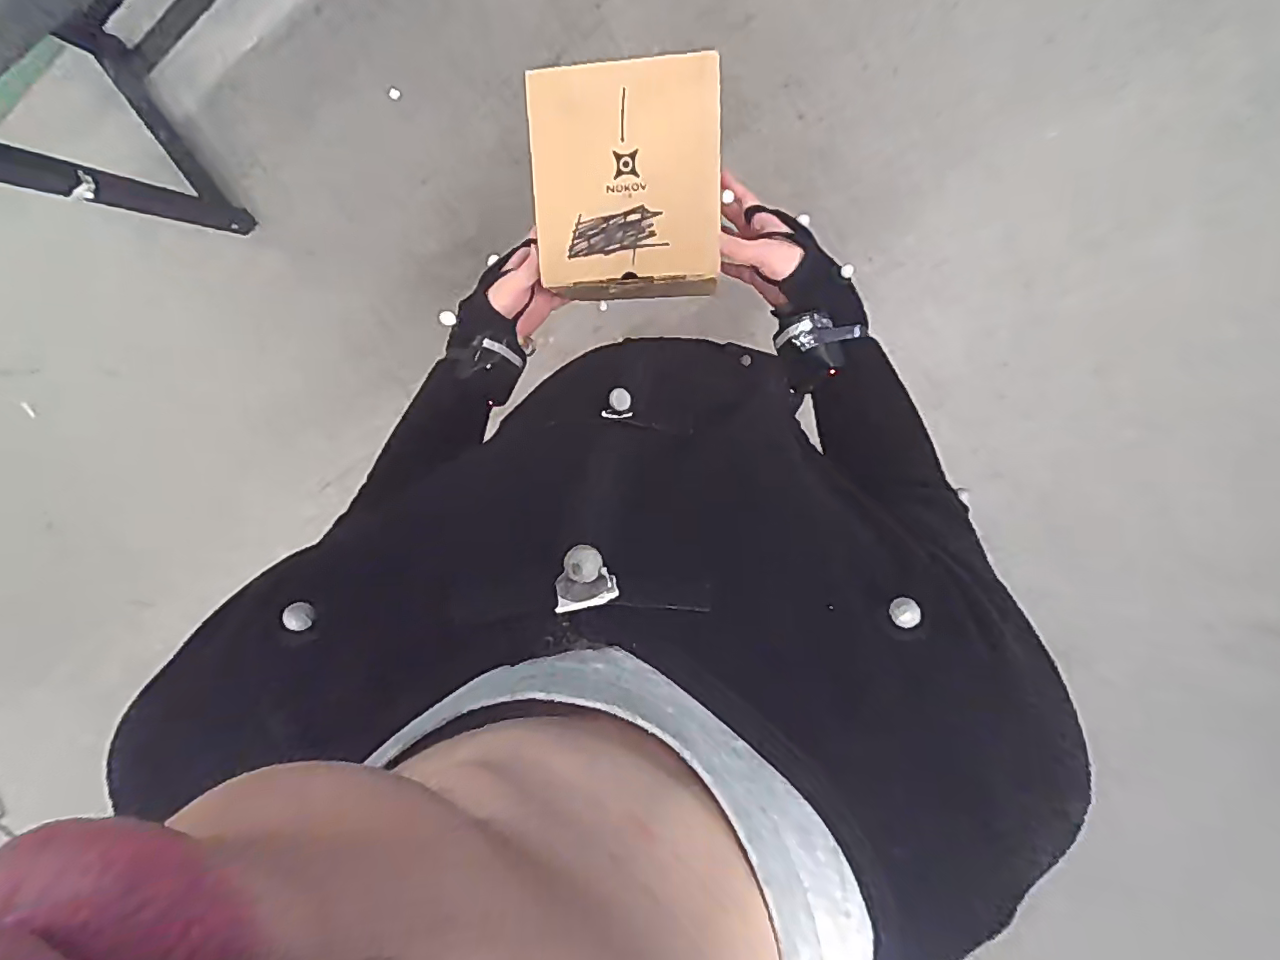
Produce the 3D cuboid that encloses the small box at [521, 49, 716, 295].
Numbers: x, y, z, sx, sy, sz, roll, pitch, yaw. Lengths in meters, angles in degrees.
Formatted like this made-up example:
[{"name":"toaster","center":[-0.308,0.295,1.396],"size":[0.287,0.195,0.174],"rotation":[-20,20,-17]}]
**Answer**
[{"name":"small box","center":[-0.007,-0.283,0.542],"size":[0.168,0.176,0.179],"rotation":[-1,104,6]}]
